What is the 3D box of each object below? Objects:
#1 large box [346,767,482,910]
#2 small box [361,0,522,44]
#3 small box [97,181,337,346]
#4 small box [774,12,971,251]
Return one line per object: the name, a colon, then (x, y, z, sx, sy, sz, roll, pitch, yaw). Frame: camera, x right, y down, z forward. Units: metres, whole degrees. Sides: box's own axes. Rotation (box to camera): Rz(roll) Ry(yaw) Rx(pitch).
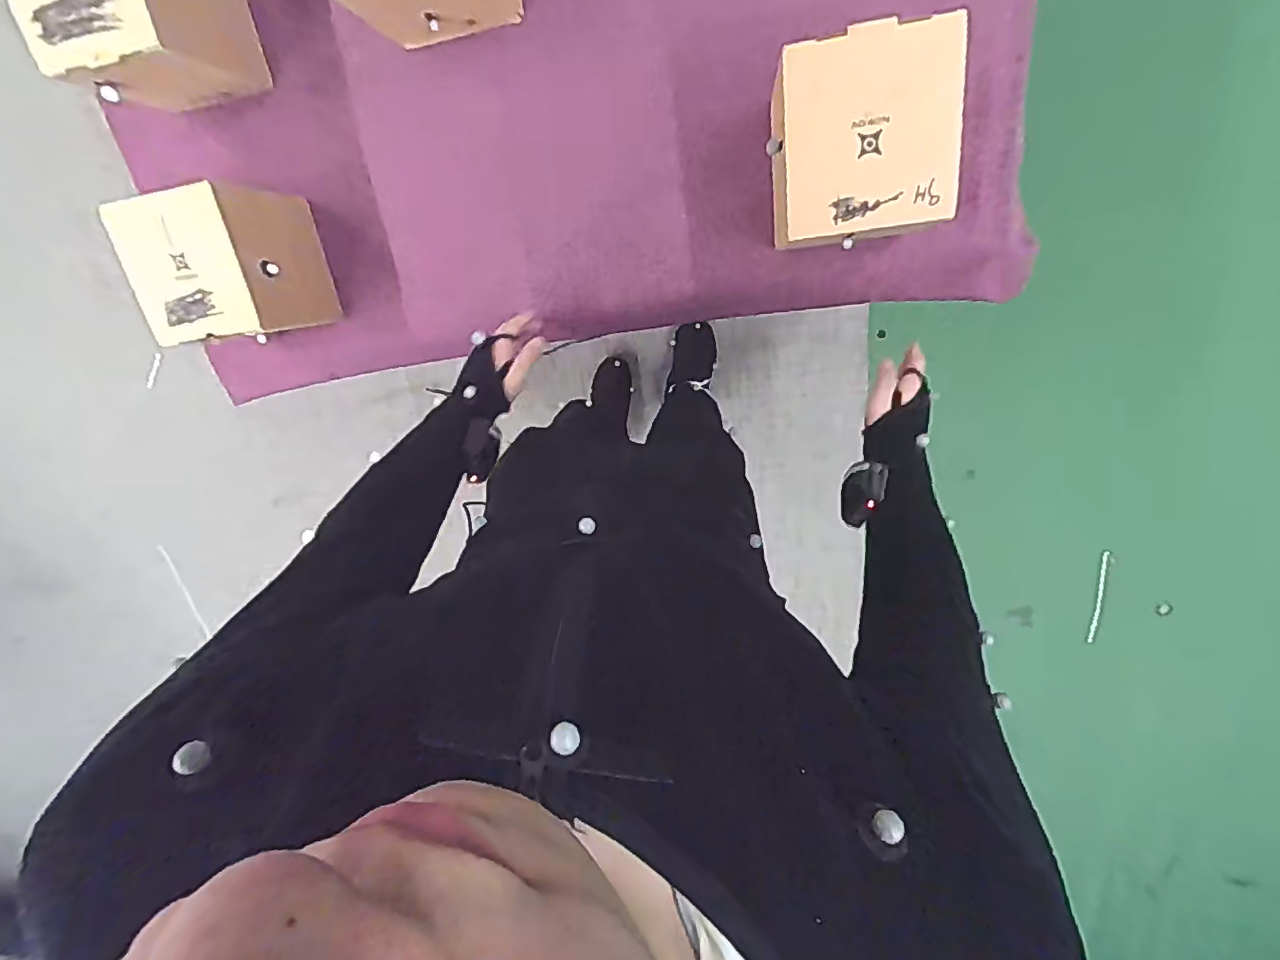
large box: (-0.912, 1.445, 2.201, 0.408, 0.320, 0.320, 17, 113, 0)
small box: (-0.243, -0.616, 0.578, 0.168, 0.176, 0.179, -5, 112, 10)
small box: (-0.560, -0.292, 0.746, 0.168, 0.176, 0.179, -5, 110, 9)
small box: (0.241, -0.364, 0.604, 0.168, 0.176, 0.179, -3, 108, 10)
